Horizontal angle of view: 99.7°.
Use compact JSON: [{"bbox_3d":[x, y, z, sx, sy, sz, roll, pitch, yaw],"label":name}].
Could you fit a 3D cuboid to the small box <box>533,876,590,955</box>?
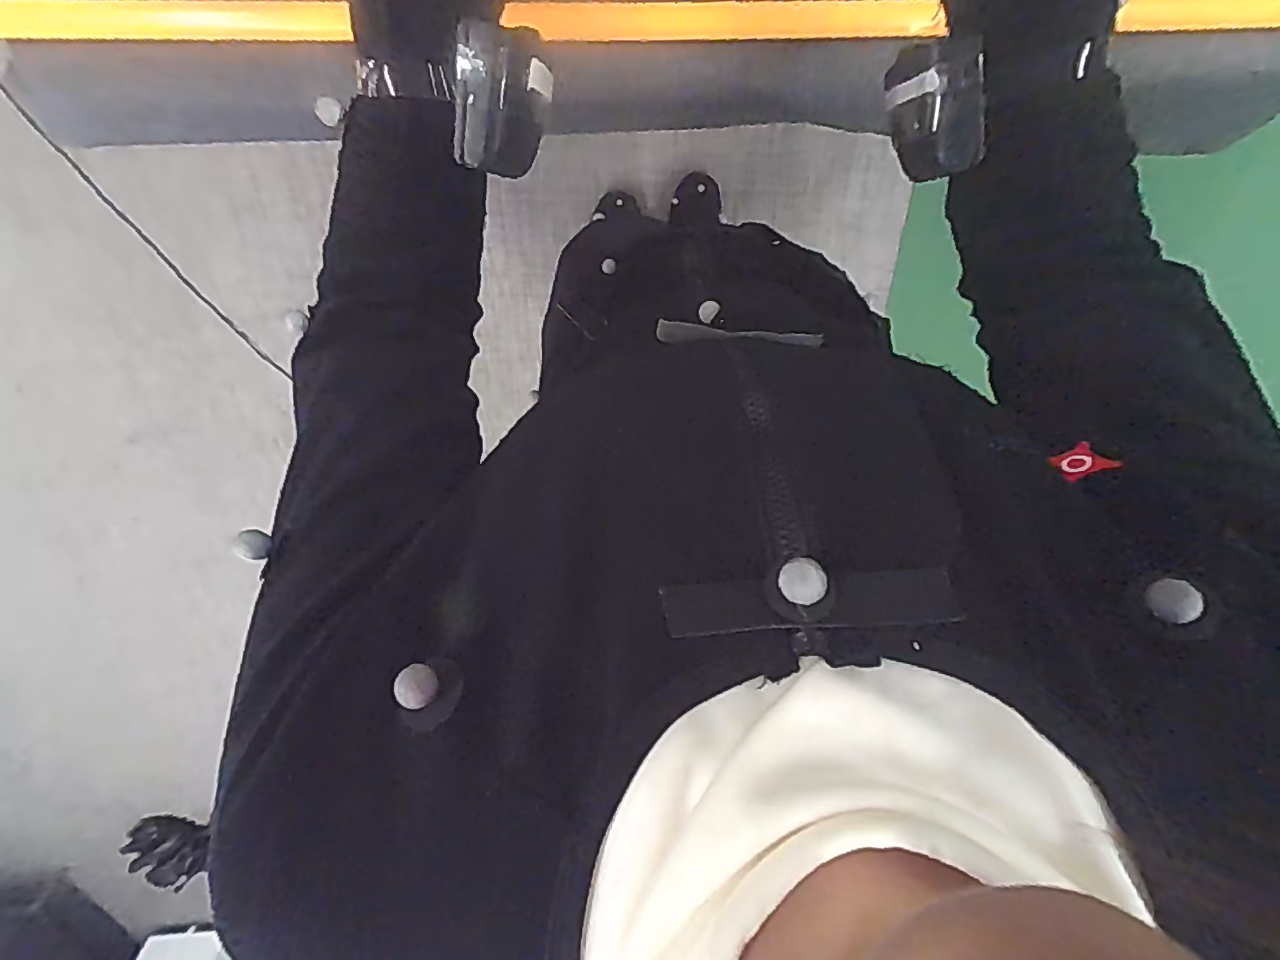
[{"bbox_3d":[-0.270,1.529,1.901,0.168,0.176,0.179,-9,122,1],"label":"small box"}]
